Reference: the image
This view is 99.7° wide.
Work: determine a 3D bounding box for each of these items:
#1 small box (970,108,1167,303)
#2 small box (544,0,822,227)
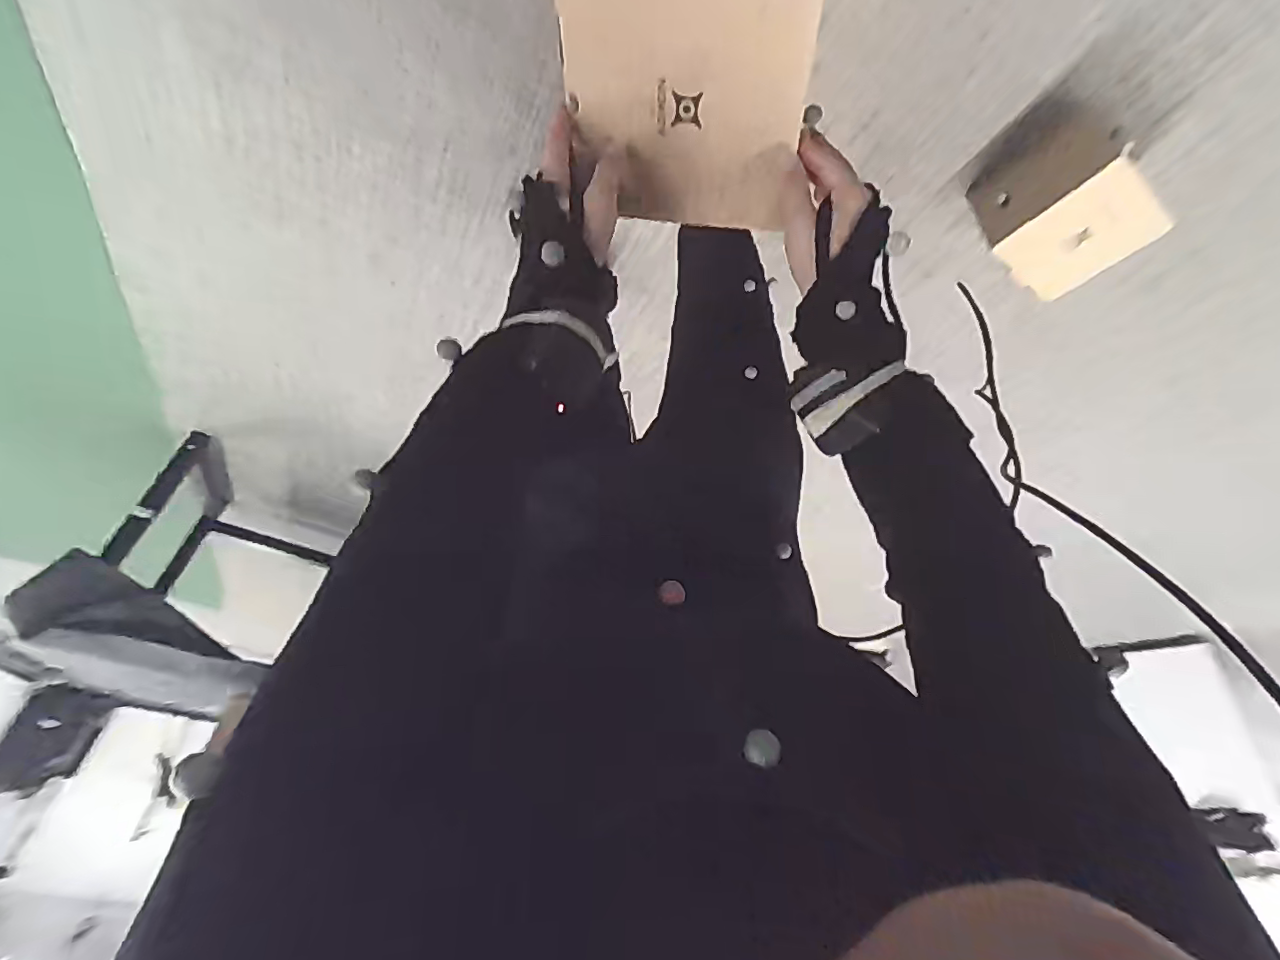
[{"bbox_3d":[0.651,-0.424,0.847,0.168,0.176,0.179,25,141,-24],"label":"small box"},{"bbox_3d":[0.043,-0.323,0.427,0.179,0.176,0.168,9,141,11],"label":"small box"}]
